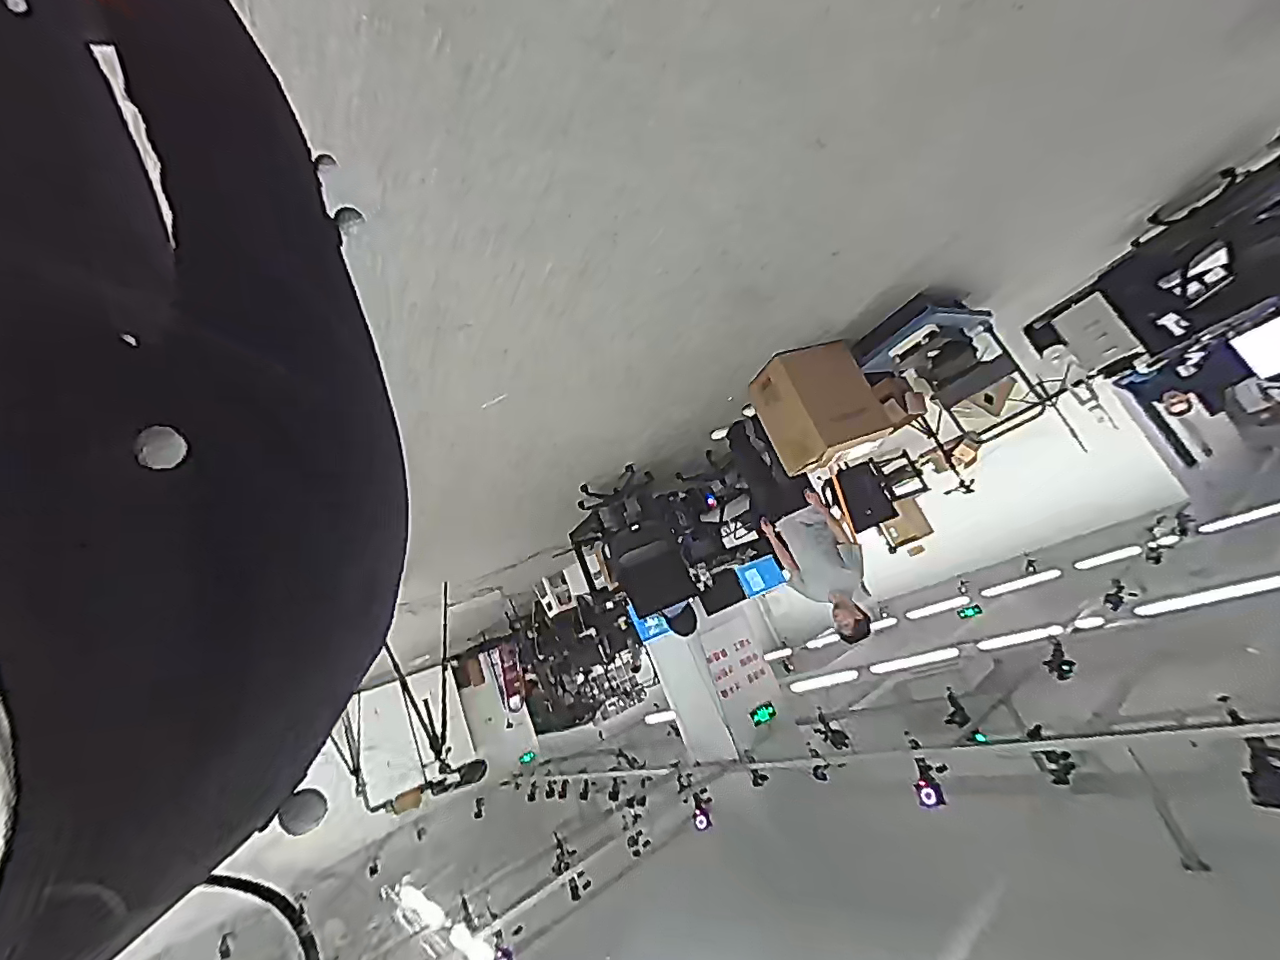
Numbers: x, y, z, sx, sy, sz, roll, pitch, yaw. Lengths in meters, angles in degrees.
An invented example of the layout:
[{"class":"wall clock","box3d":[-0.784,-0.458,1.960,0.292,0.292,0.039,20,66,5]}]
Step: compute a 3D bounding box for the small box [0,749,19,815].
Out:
[{"class":"small box","box3d":[-1.834,0.845,1.460,0.168,0.176,0.179,-11,161,-38]}]
